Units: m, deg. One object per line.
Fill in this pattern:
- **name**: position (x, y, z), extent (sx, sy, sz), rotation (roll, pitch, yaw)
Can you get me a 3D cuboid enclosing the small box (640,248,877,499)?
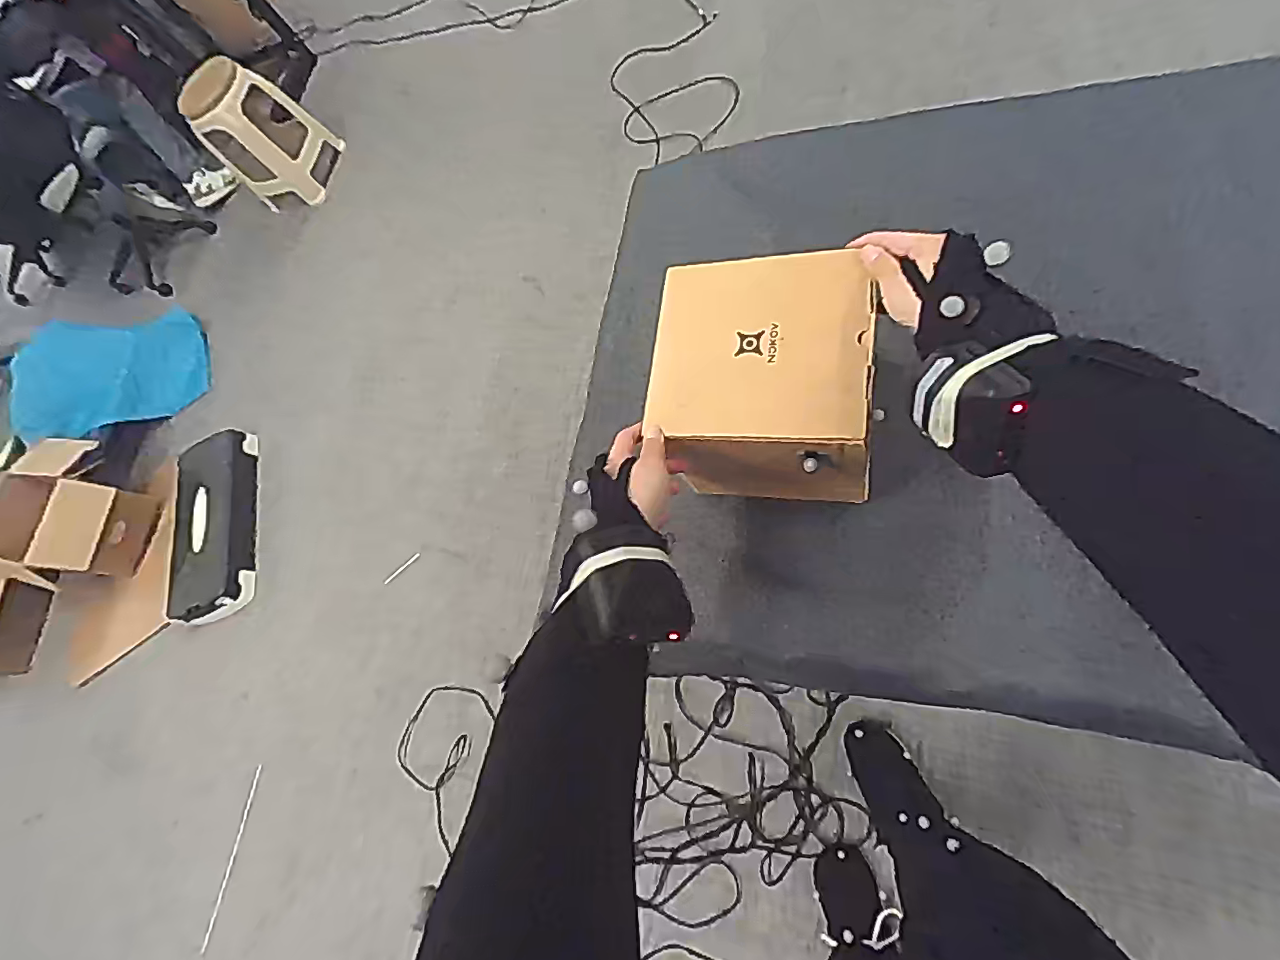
- **small box**: position (0.120, -0.085, 0.505), extent (0.179, 0.176, 0.168), rotation (3, 74, 21)
